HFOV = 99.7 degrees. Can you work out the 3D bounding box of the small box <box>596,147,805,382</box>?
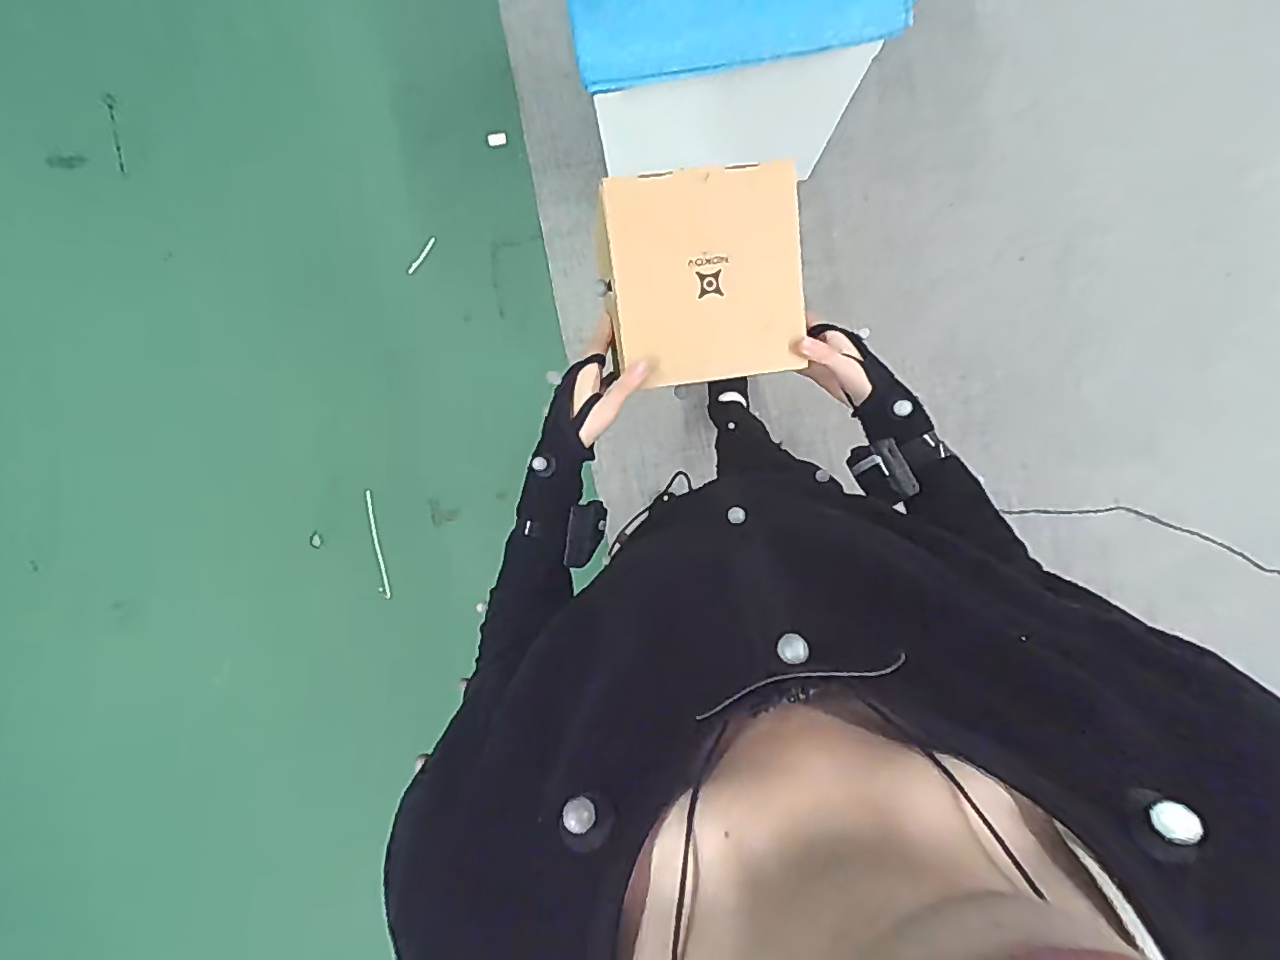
[{"bbox_3d":[0.048,-0.192,0.531,0.168,0.176,0.179,-8,99,-4],"label":"small box"}]
